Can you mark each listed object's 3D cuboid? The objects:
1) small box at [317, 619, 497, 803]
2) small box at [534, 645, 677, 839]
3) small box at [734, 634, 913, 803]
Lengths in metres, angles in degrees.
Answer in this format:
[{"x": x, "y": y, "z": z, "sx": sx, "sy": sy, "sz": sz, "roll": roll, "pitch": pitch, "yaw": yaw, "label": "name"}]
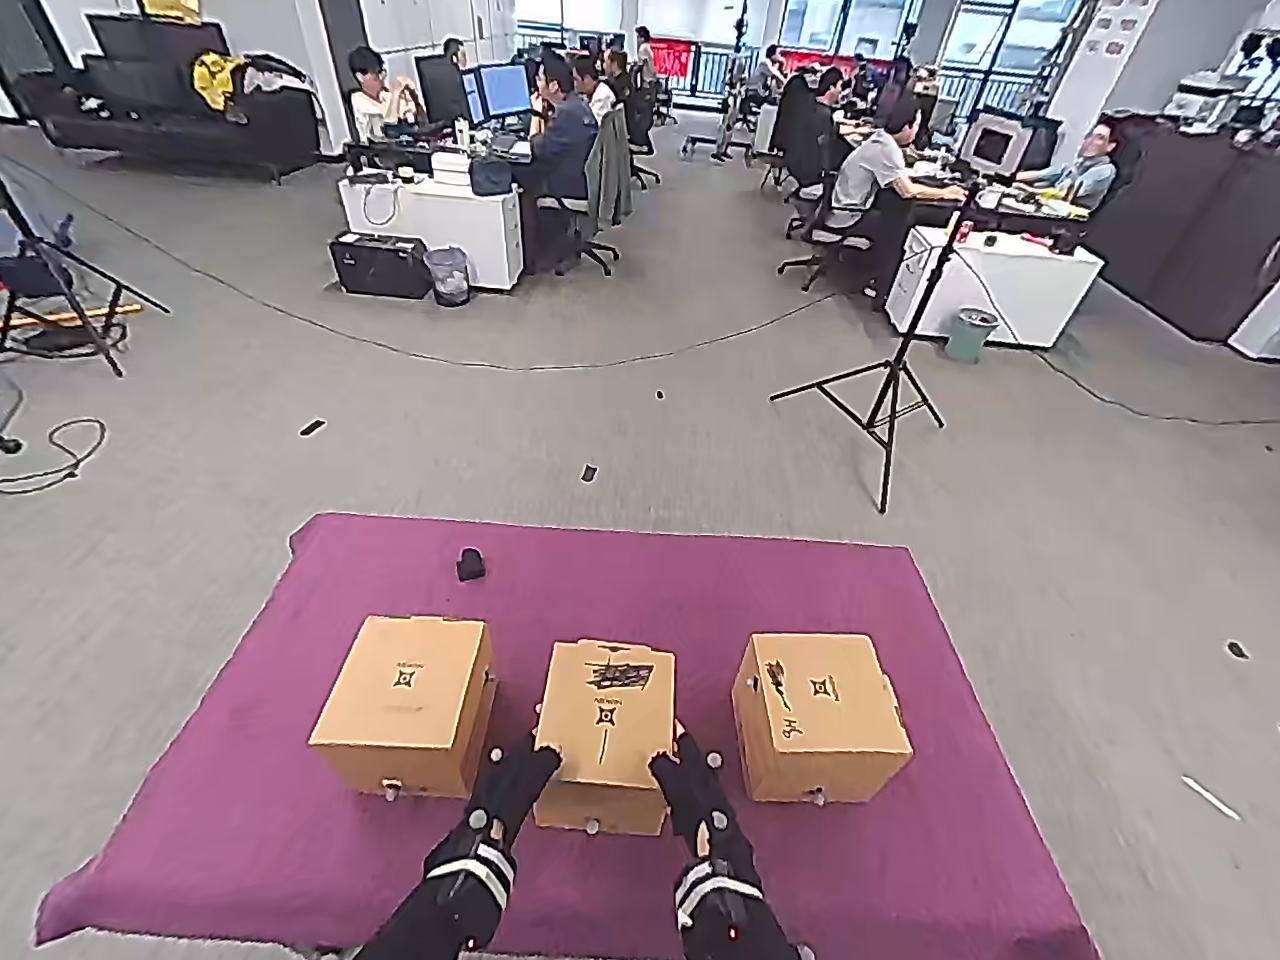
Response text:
[{"x": -0.298, "y": 0.315, "z": 0.740, "sx": 0.168, "sy": 0.176, "sz": 0.179, "roll": 2, "pitch": 41, "yaw": -2, "label": "small box"}, {"x": -0.042, "y": 0.349, "z": 0.725, "sx": 0.168, "sy": 0.176, "sz": 0.179, "roll": 5, "pitch": 41, "yaw": 0, "label": "small box"}, {"x": 0.243, "y": 0.339, "z": 0.767, "sx": 0.179, "sy": 0.176, "sz": 0.168, "roll": 2, "pitch": 40, "yaw": -3, "label": "small box"}]
